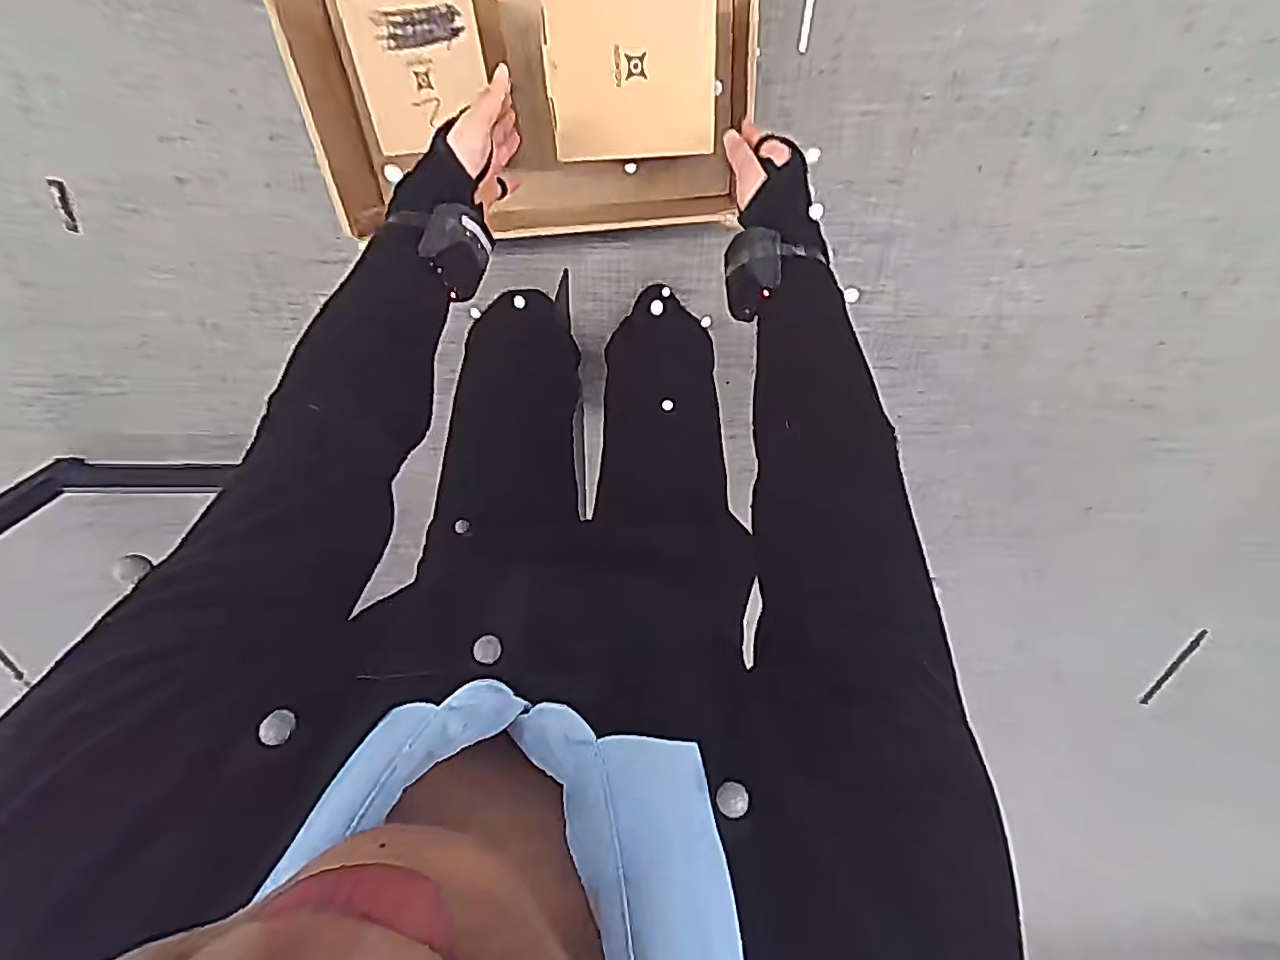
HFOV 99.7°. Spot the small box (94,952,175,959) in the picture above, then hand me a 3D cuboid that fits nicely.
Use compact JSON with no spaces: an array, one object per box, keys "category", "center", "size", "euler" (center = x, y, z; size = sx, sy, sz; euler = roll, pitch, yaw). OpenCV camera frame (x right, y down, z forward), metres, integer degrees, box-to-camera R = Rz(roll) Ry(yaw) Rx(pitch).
[{"category":"small box","center":[-1.027,1.078,1.075],"size":[0.168,0.176,0.179],"euler":[1,124,0]}]

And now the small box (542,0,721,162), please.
[{"category":"small box","center":[-0.005,-0.470,0.620],"size":[0.179,0.176,0.168],"euler":[-1,125,3]}]
